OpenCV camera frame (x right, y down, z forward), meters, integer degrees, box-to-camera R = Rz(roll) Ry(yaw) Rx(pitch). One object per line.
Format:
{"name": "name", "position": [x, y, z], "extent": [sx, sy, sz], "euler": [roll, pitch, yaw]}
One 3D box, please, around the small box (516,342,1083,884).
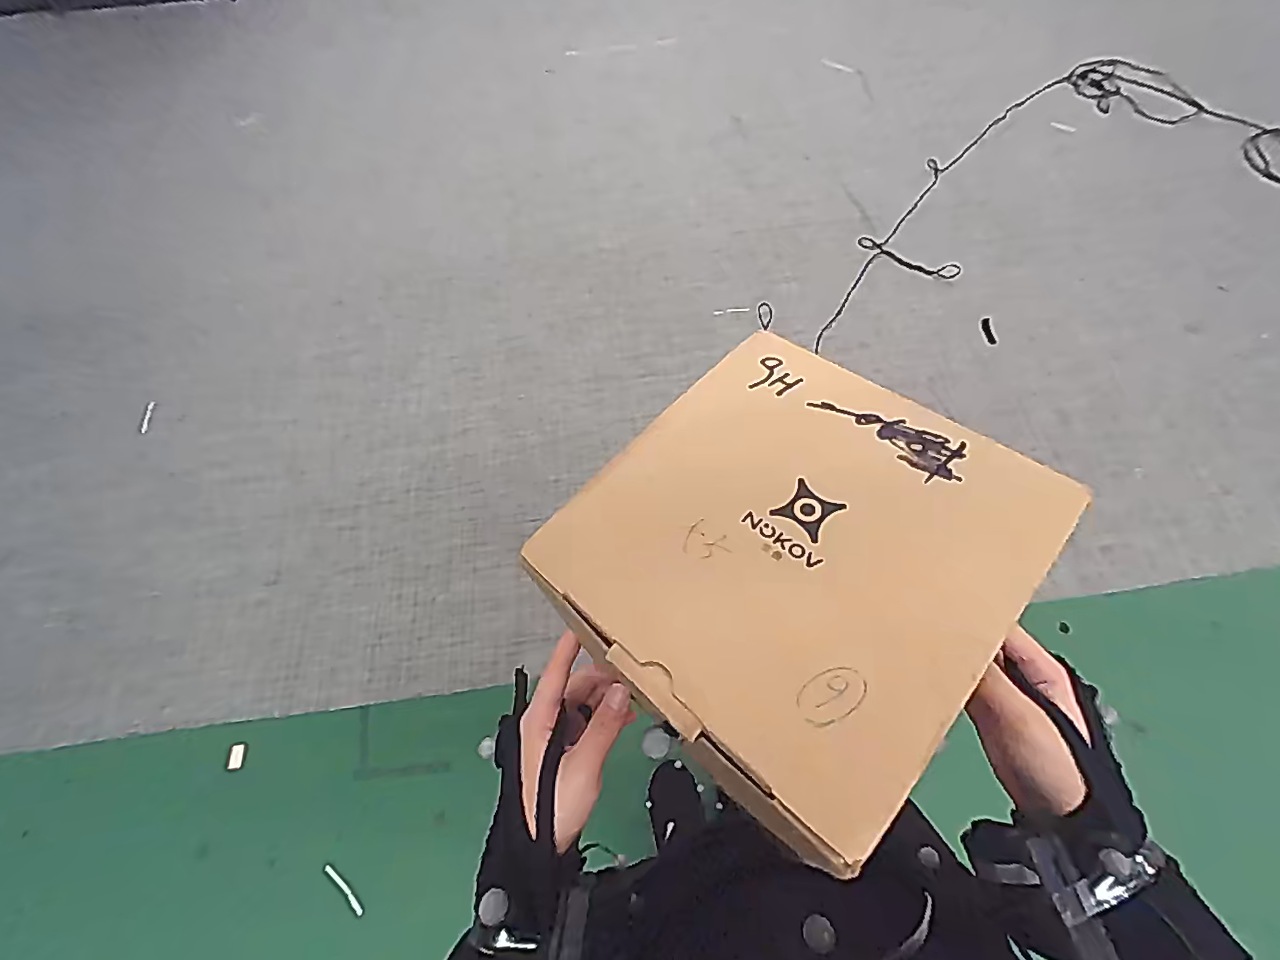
{"name": "small box", "position": [0.072, 0.068, 0.290], "extent": [0.168, 0.176, 0.179], "euler": [37, 70, 28]}
